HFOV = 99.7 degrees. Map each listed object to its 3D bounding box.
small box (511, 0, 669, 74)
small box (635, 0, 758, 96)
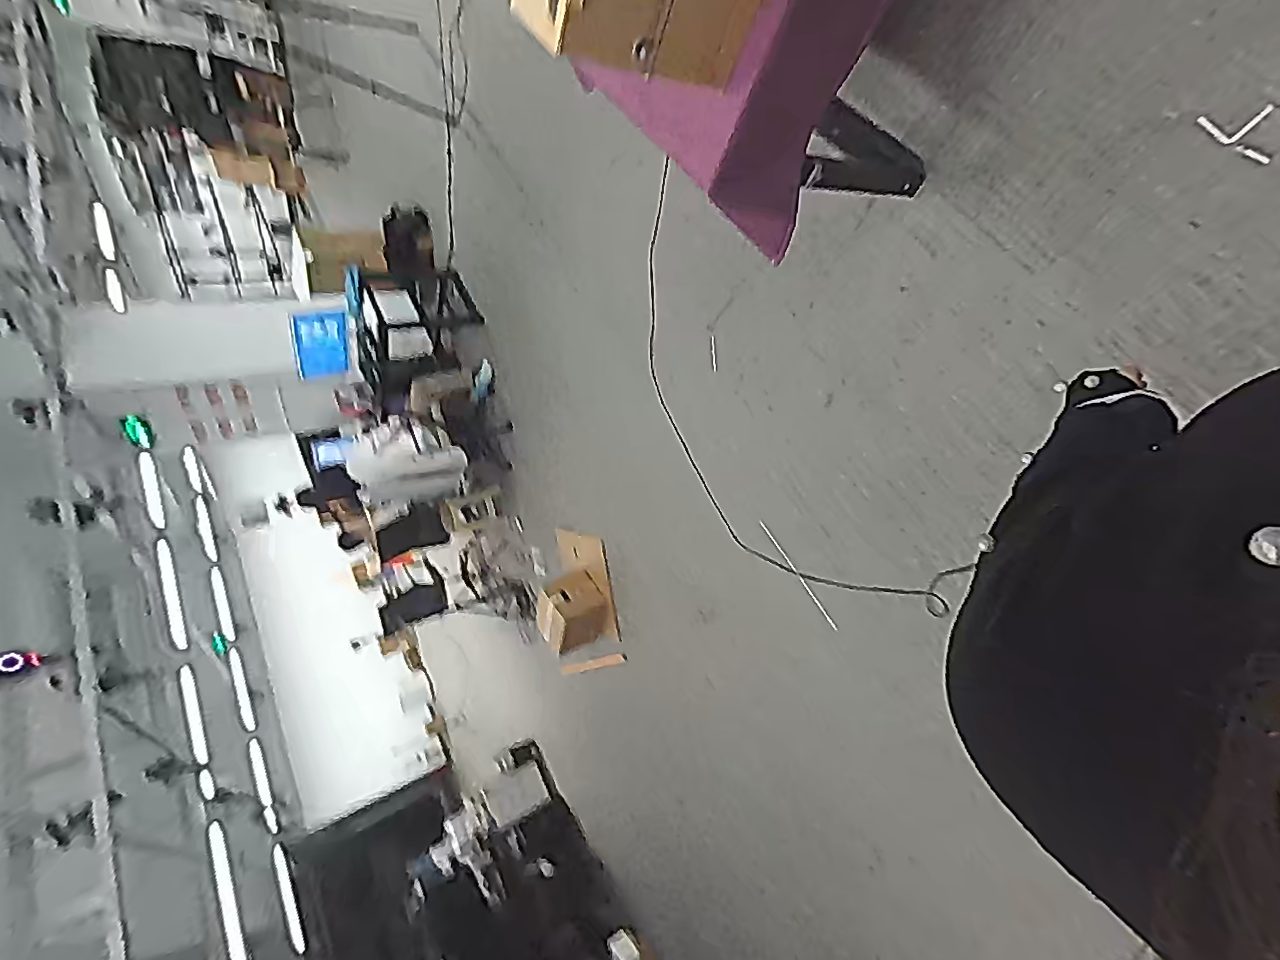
[{"bbox_3d":[-0.067,-0.733,0.794,0.179,0.176,0.168,58,143,25],"label":"small box"},{"bbox_3d":[0.065,-0.768,0.885,0.168,0.176,0.179,57,142,24],"label":"small box"}]
